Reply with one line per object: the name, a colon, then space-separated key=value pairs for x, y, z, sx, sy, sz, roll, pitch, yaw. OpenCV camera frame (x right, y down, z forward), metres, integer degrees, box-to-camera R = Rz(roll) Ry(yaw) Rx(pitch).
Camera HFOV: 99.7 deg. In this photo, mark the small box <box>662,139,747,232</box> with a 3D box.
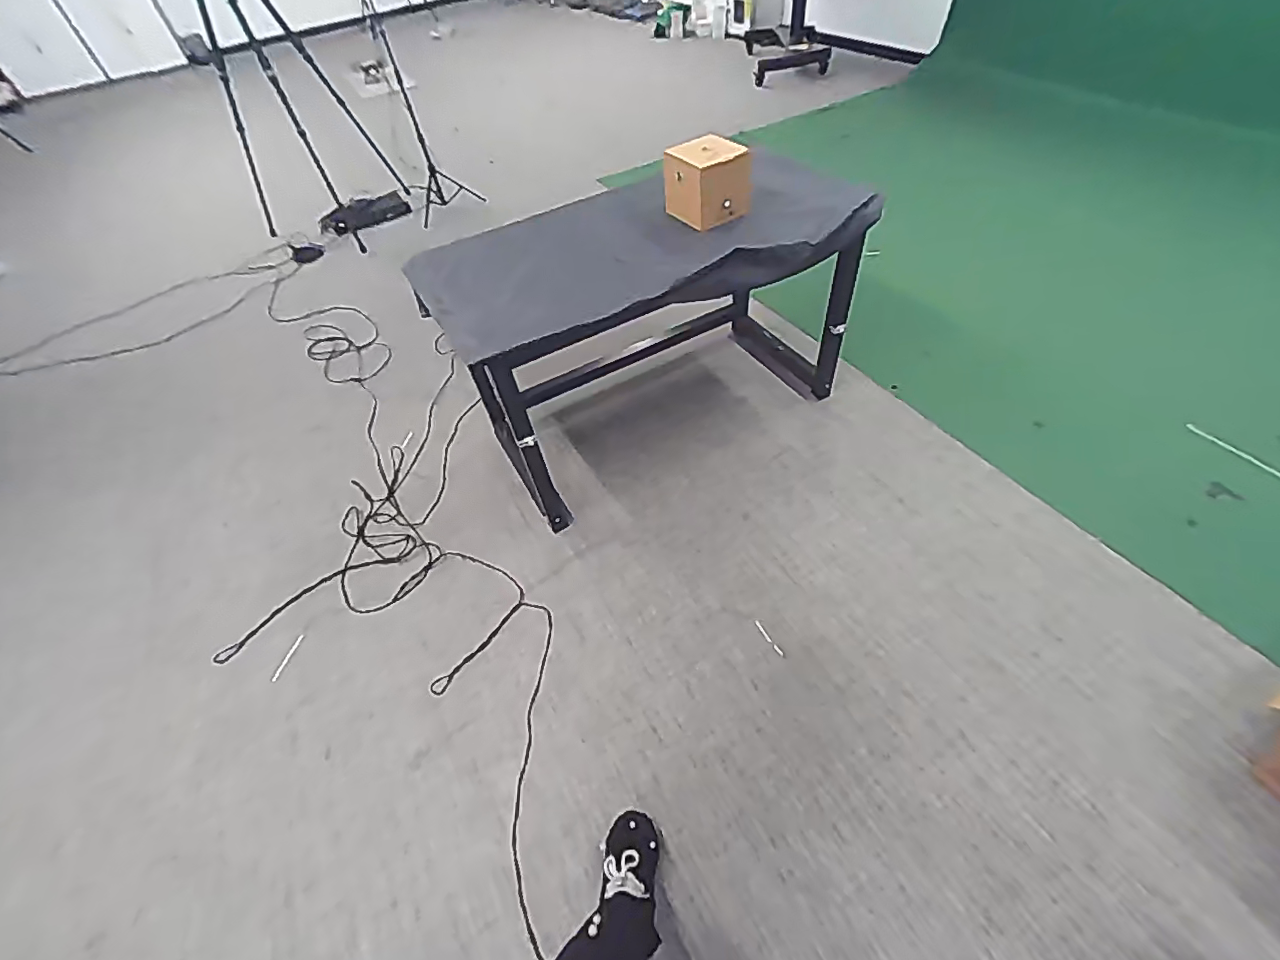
small box: x=0.177 y=-0.824 z=1.514 sx=0.168 sy=0.176 sz=0.179 roll=-29 pitch=53 yaw=-16
